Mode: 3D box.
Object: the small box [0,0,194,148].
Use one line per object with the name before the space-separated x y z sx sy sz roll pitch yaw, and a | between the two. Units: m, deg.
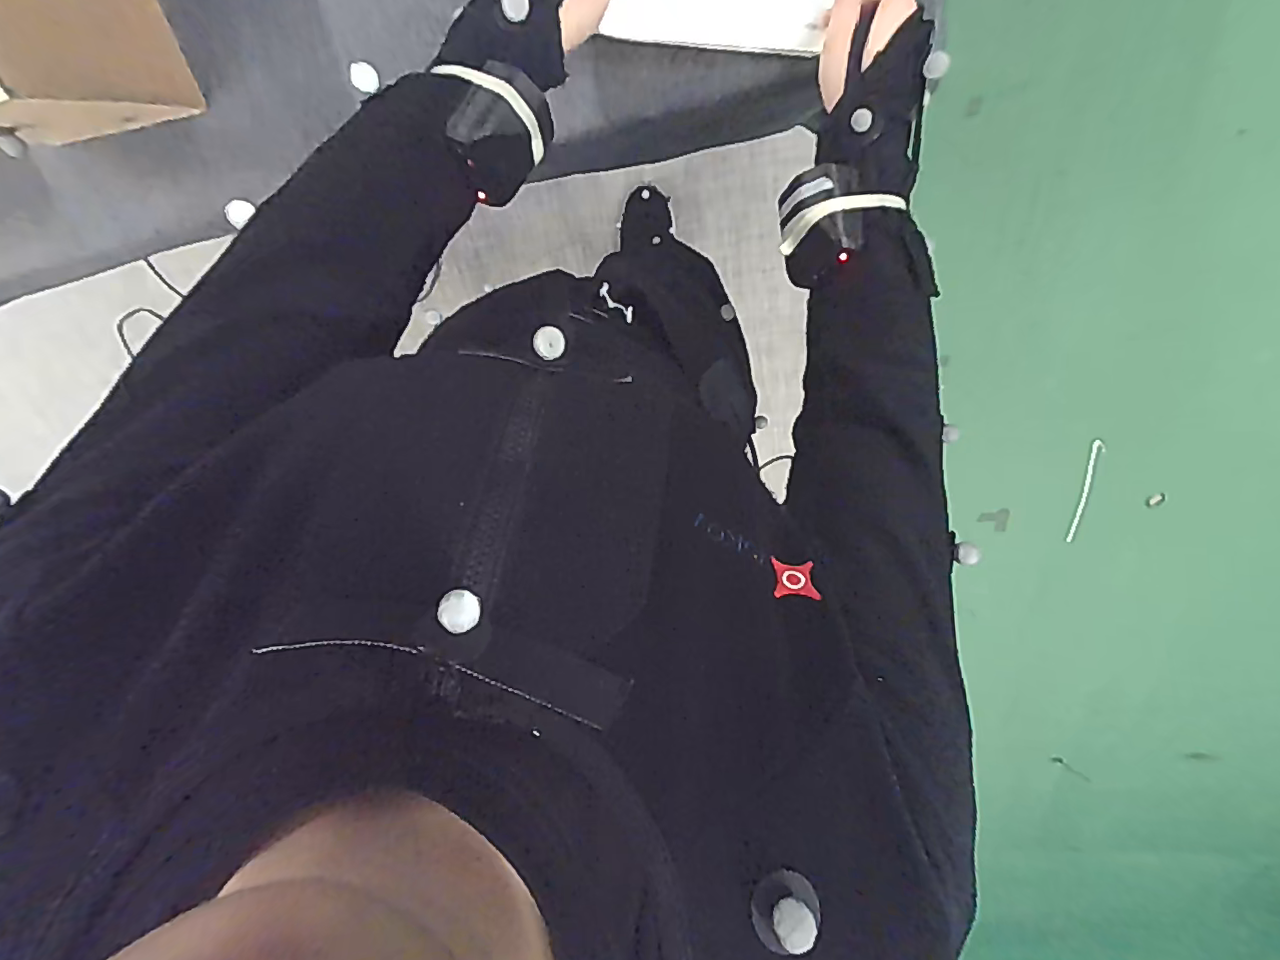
small box | -0.472 -0.337 0.368 0.168 0.176 0.179 -5 120 9
